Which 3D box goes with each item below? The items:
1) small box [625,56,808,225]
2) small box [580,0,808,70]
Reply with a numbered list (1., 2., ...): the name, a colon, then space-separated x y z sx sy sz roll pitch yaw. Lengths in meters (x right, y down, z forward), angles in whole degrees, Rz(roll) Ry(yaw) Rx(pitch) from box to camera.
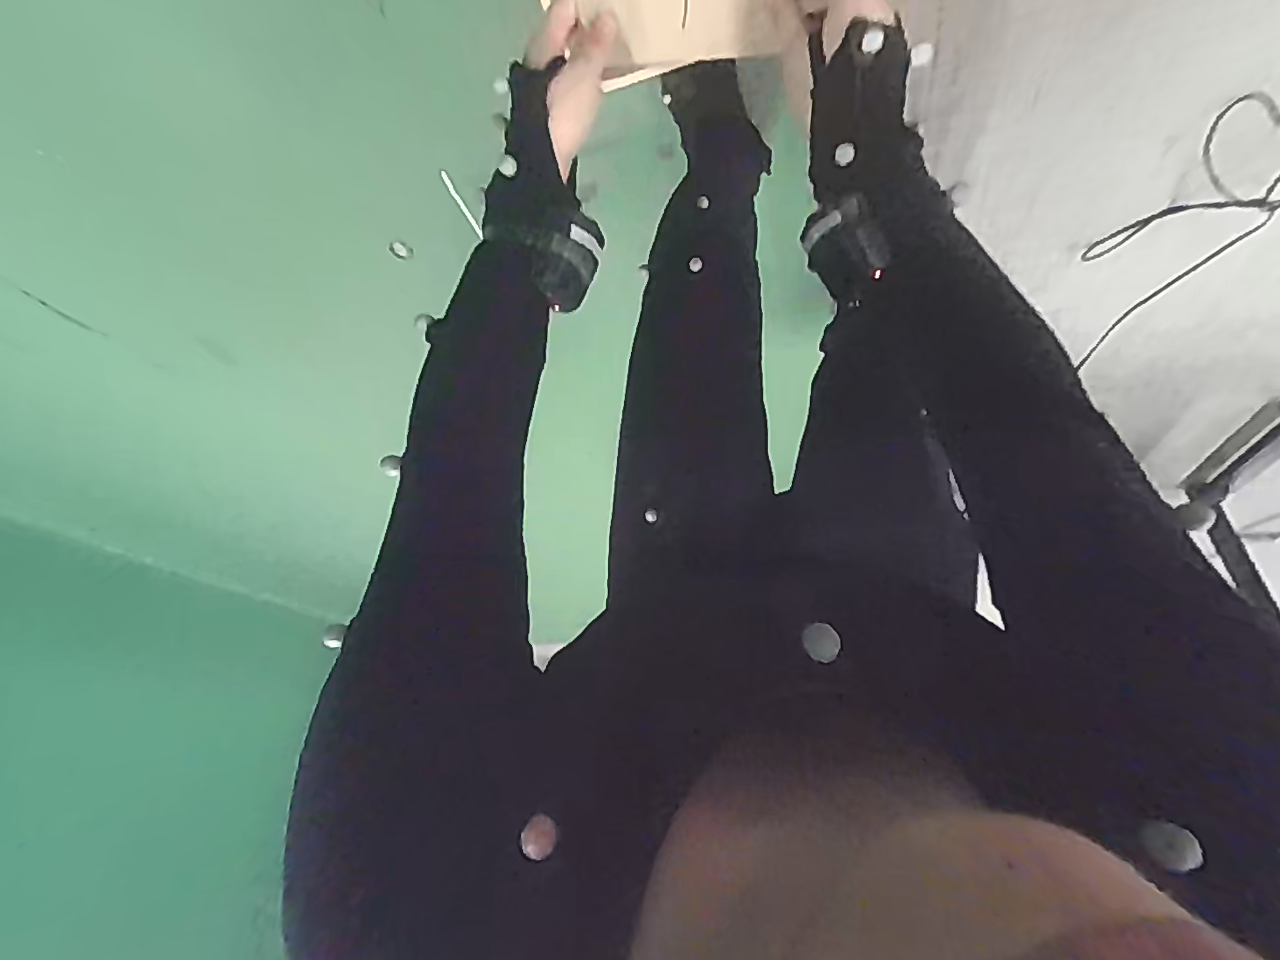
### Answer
1. small box: 0.116 -0.506 0.786 0.176 0.168 0.179 -6 135 -45
2. small box: 0.037 -0.436 0.382 0.168 0.176 0.179 0 152 7
